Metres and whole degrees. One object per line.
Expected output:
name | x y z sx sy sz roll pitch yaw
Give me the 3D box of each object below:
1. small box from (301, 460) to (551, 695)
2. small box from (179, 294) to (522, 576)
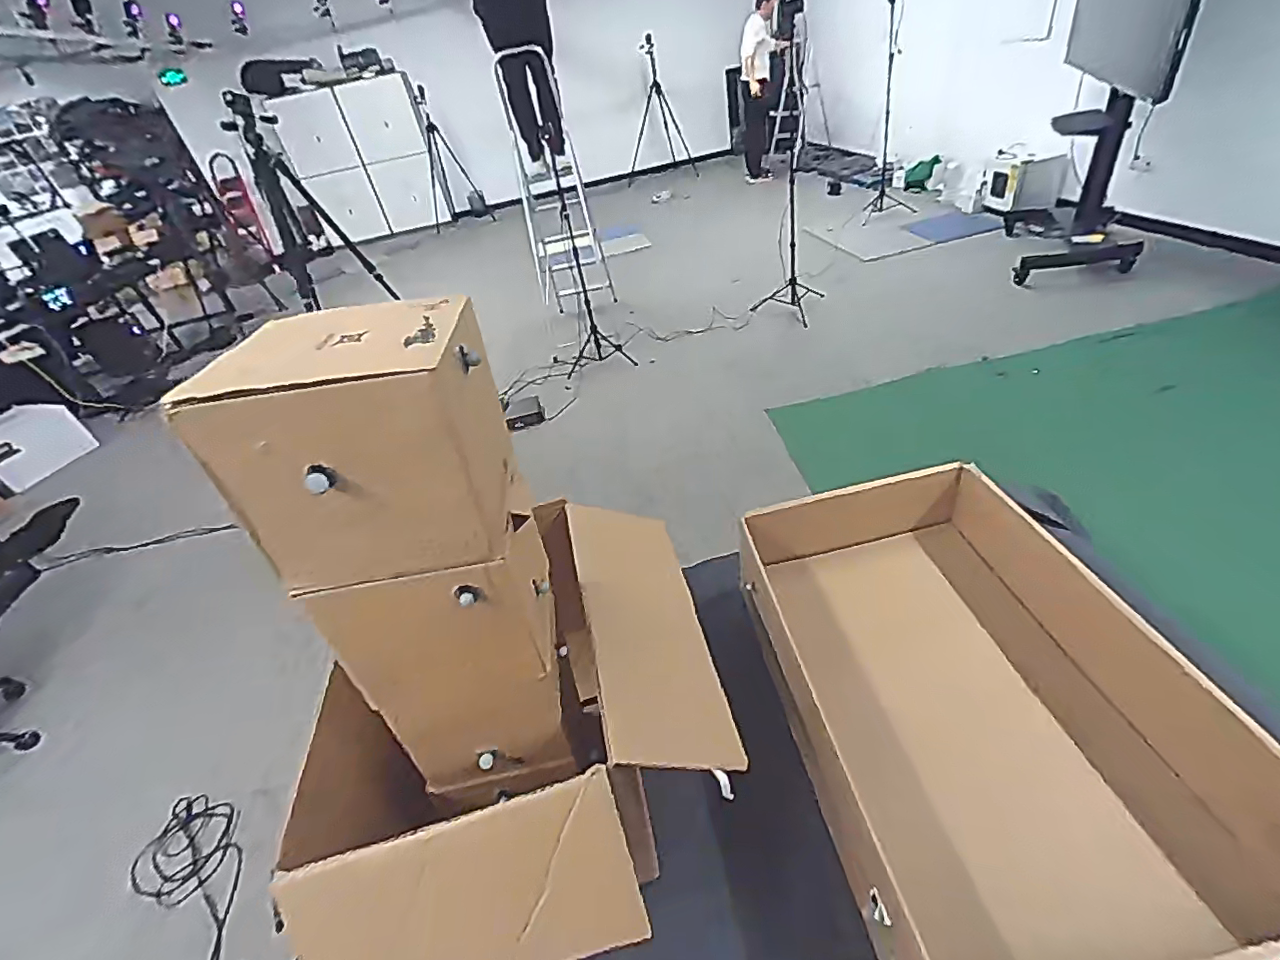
small box | -0.193 0.094 0.552 0.179 0.176 0.168 -9 37 -4
small box | -0.210 -0.038 0.456 0.179 0.176 0.168 -9 37 -2
